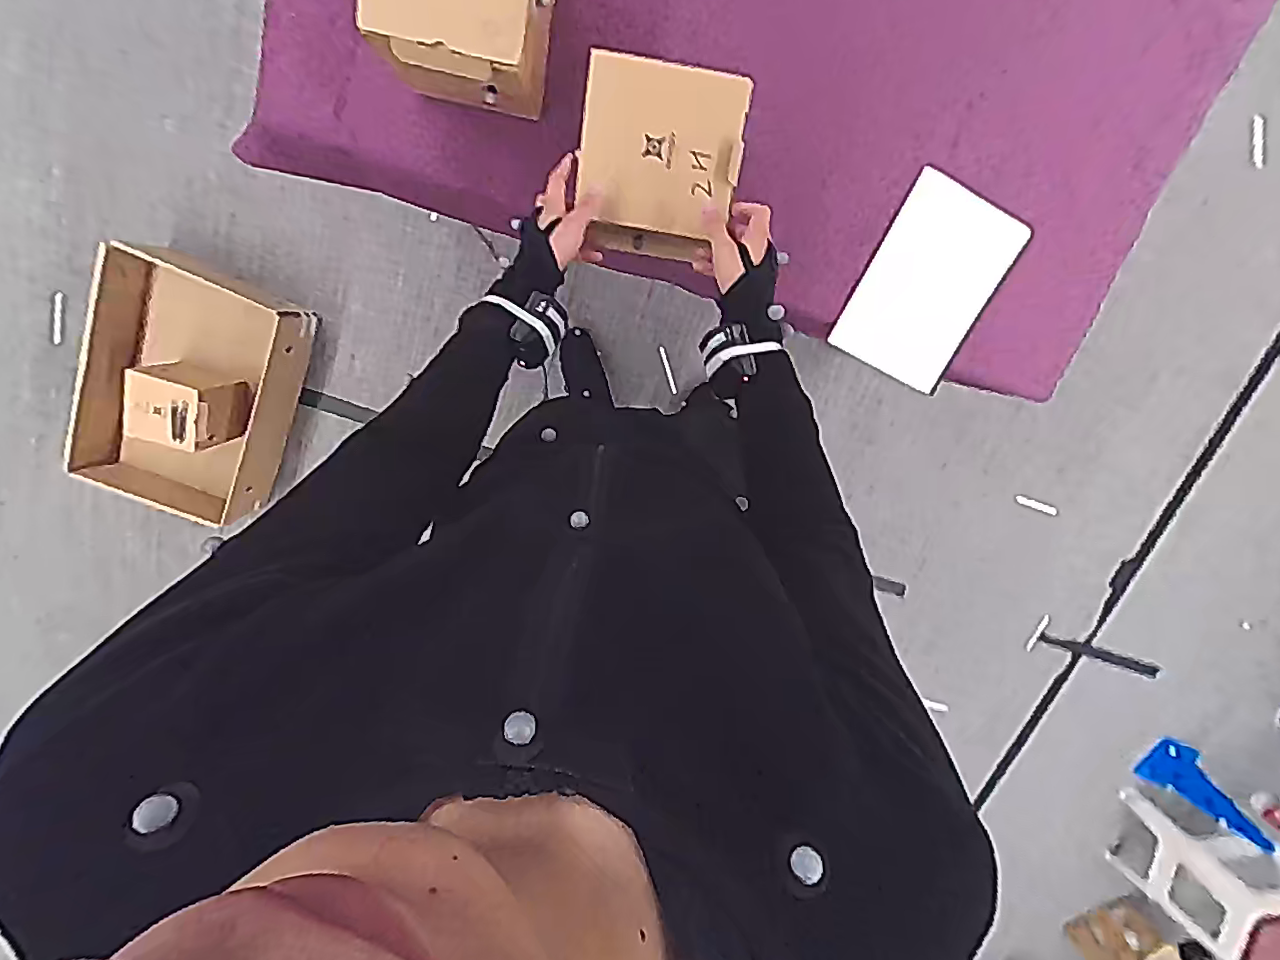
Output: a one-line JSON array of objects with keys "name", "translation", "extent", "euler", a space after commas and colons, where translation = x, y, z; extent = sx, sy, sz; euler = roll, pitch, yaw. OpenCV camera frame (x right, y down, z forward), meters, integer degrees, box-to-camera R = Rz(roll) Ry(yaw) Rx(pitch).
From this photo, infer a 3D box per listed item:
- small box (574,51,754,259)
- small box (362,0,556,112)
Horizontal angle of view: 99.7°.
[{"name": "small box", "translation": [0.022, -0.378, 0.663], "extent": [0.179, 0.176, 0.168], "euler": [8, 105, -4]}, {"name": "small box", "translation": [-0.189, -0.549, 0.605], "extent": [0.168, 0.176, 0.179], "euler": [10, 107, -7]}]
